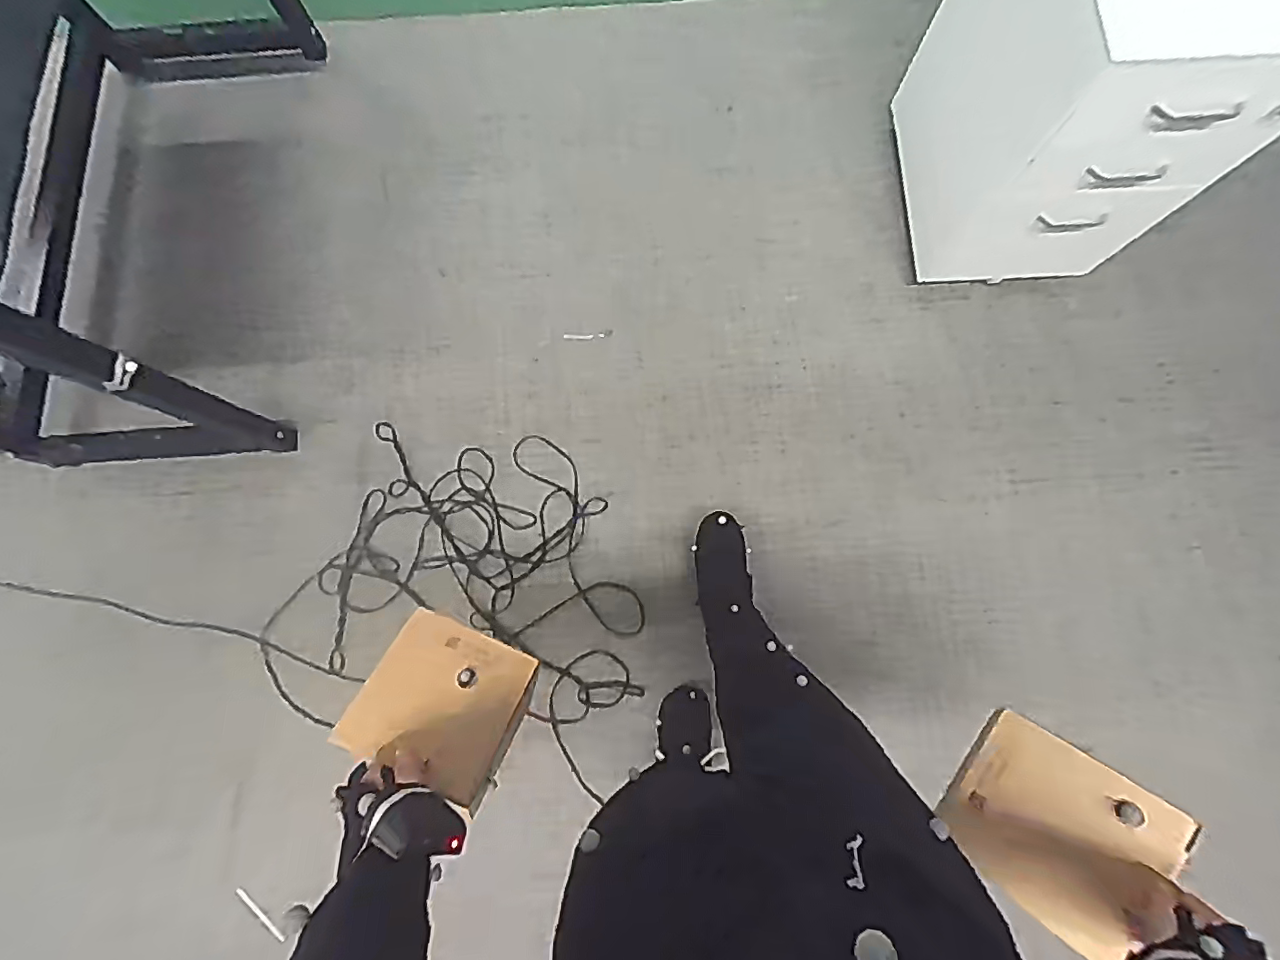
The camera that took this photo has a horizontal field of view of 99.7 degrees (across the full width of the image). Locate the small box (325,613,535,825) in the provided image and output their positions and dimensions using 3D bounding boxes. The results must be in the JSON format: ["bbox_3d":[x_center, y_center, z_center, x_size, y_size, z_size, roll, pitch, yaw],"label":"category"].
[{"bbox_3d":[-0.242,0.295,0.669,0.168,0.179,0.176,23,51,3],"label":"small box"}]
